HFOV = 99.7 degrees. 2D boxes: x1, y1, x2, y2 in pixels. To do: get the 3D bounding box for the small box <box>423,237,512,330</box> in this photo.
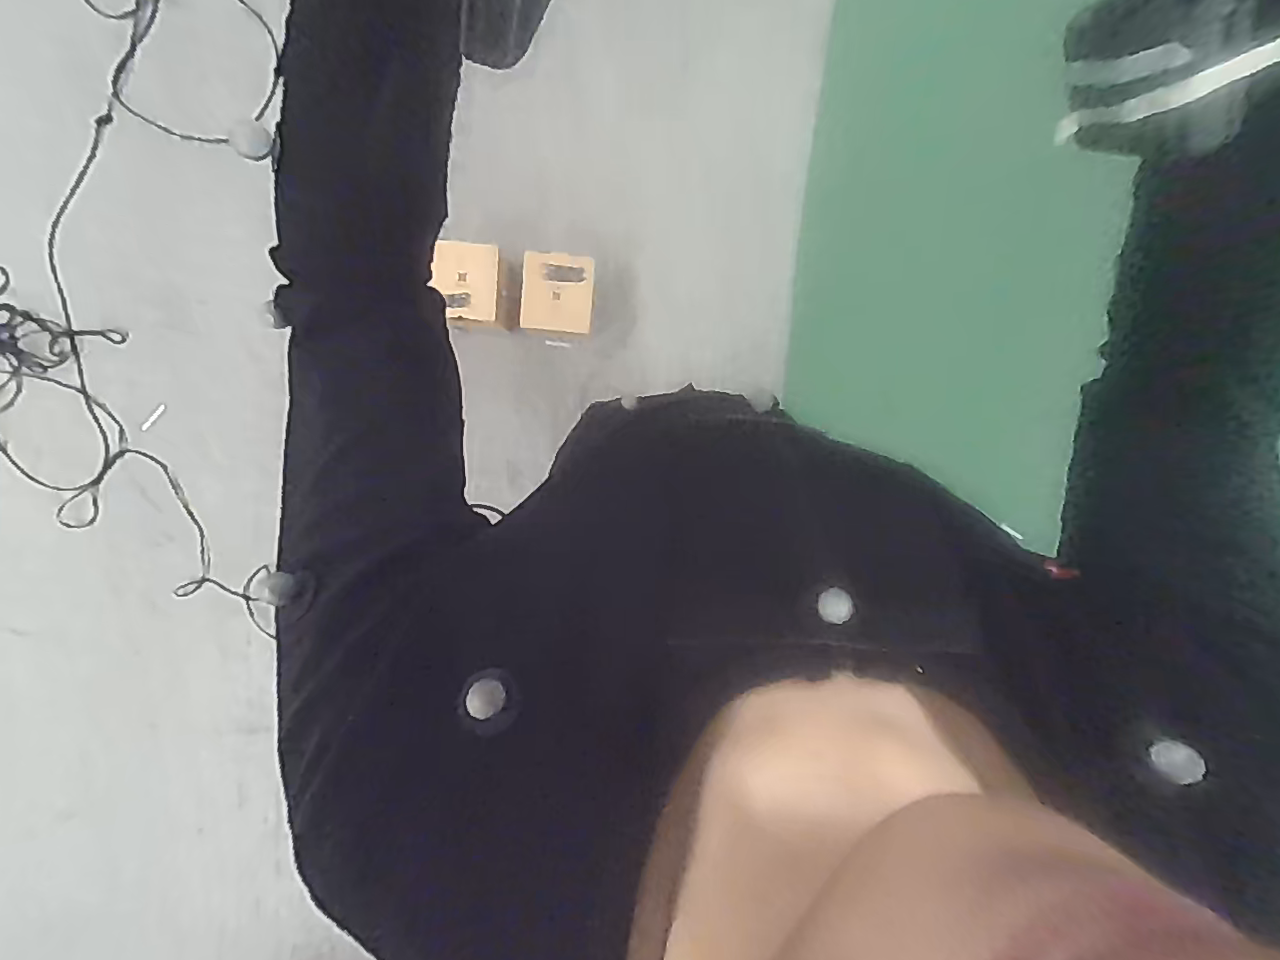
[{"bbox_3d":[-0.416,-0.472,1.324,0.168,0.176,0.179,5,95,0],"label":"small box"}]
